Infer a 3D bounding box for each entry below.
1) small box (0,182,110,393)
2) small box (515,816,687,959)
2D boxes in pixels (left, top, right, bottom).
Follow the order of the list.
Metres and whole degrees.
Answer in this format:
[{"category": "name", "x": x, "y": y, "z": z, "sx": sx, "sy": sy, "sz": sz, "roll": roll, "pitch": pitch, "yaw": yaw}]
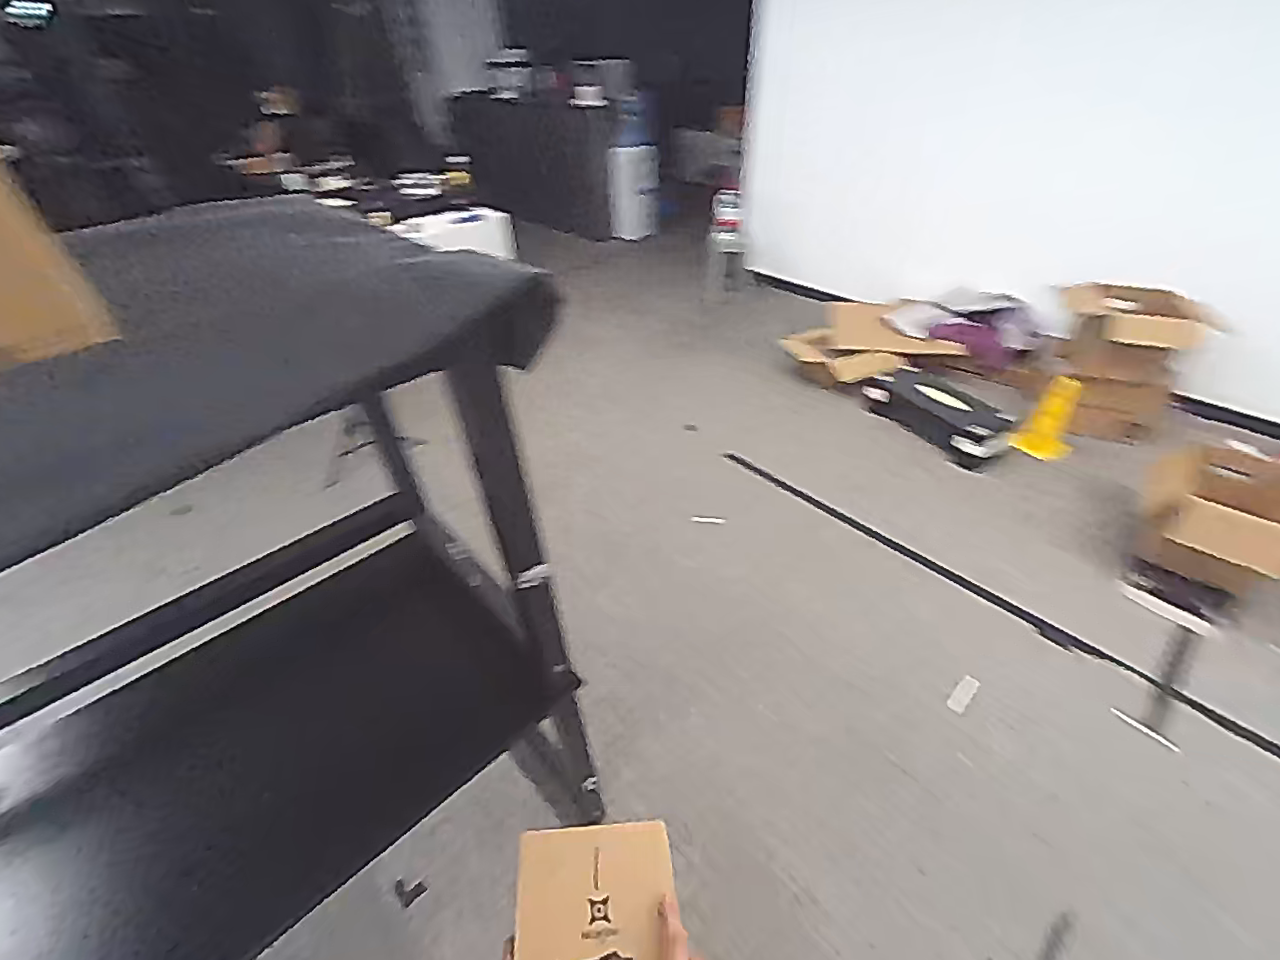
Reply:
[{"category": "small box", "x": -0.547, "y": -0.158, "z": 0.398, "sx": 0.179, "sy": 0.176, "sz": 0.168, "roll": 31, "pitch": 50, "yaw": 34}, {"category": "small box", "x": -0.045, "y": 0.500, "z": 0.587, "sx": 0.168, "sy": 0.176, "sz": 0.179, "roll": 1, "pitch": 36, "yaw": -8}]
